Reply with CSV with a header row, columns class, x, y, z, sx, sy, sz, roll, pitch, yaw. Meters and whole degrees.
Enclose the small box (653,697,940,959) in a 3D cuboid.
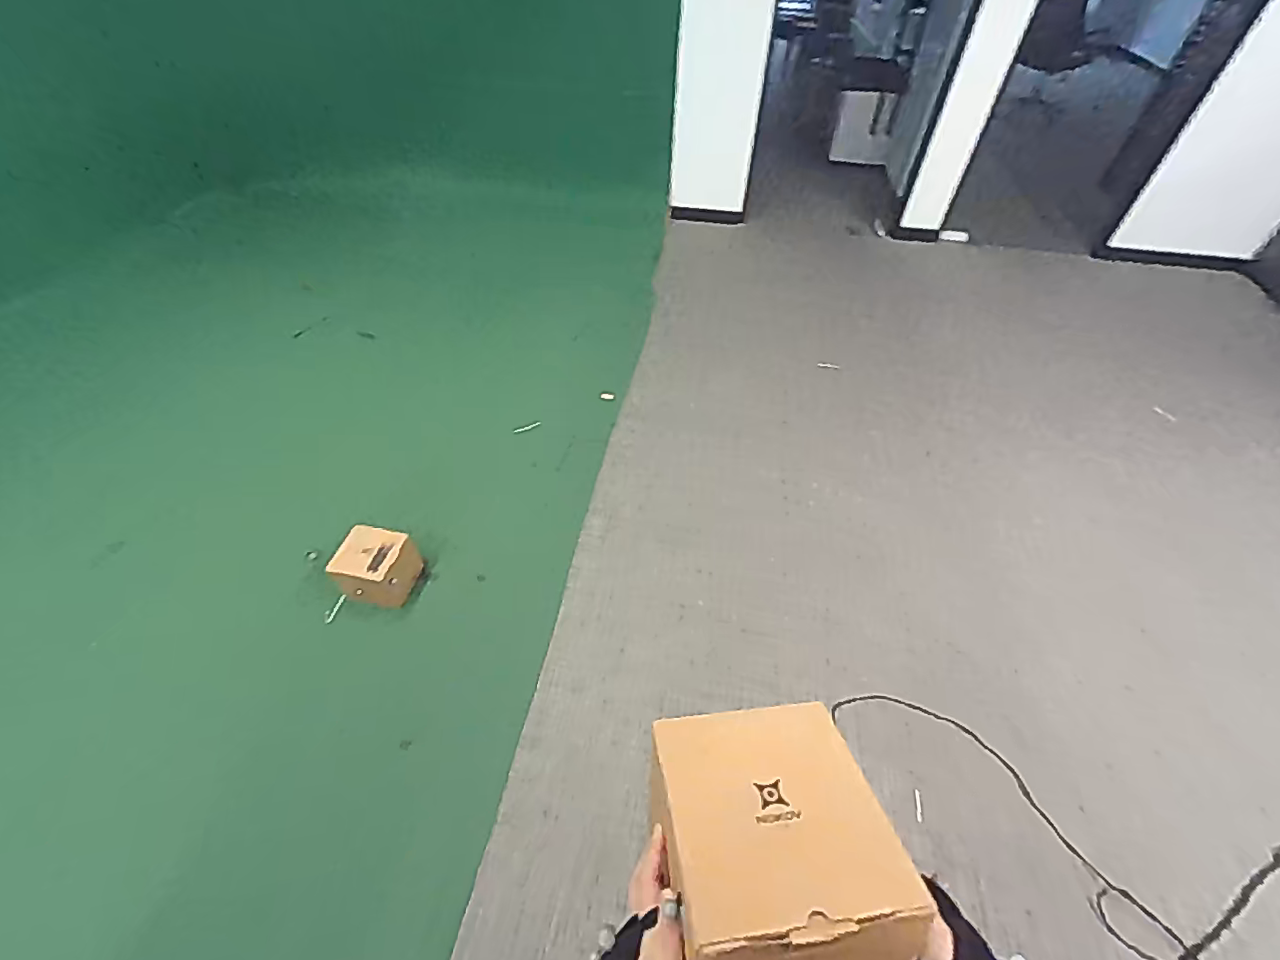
class,x,y,z,sx,sy,sz,roll,pitch,yaw
small box,0.105,0.315,0.454,0.168,0.176,0.179,-2,26,-7
